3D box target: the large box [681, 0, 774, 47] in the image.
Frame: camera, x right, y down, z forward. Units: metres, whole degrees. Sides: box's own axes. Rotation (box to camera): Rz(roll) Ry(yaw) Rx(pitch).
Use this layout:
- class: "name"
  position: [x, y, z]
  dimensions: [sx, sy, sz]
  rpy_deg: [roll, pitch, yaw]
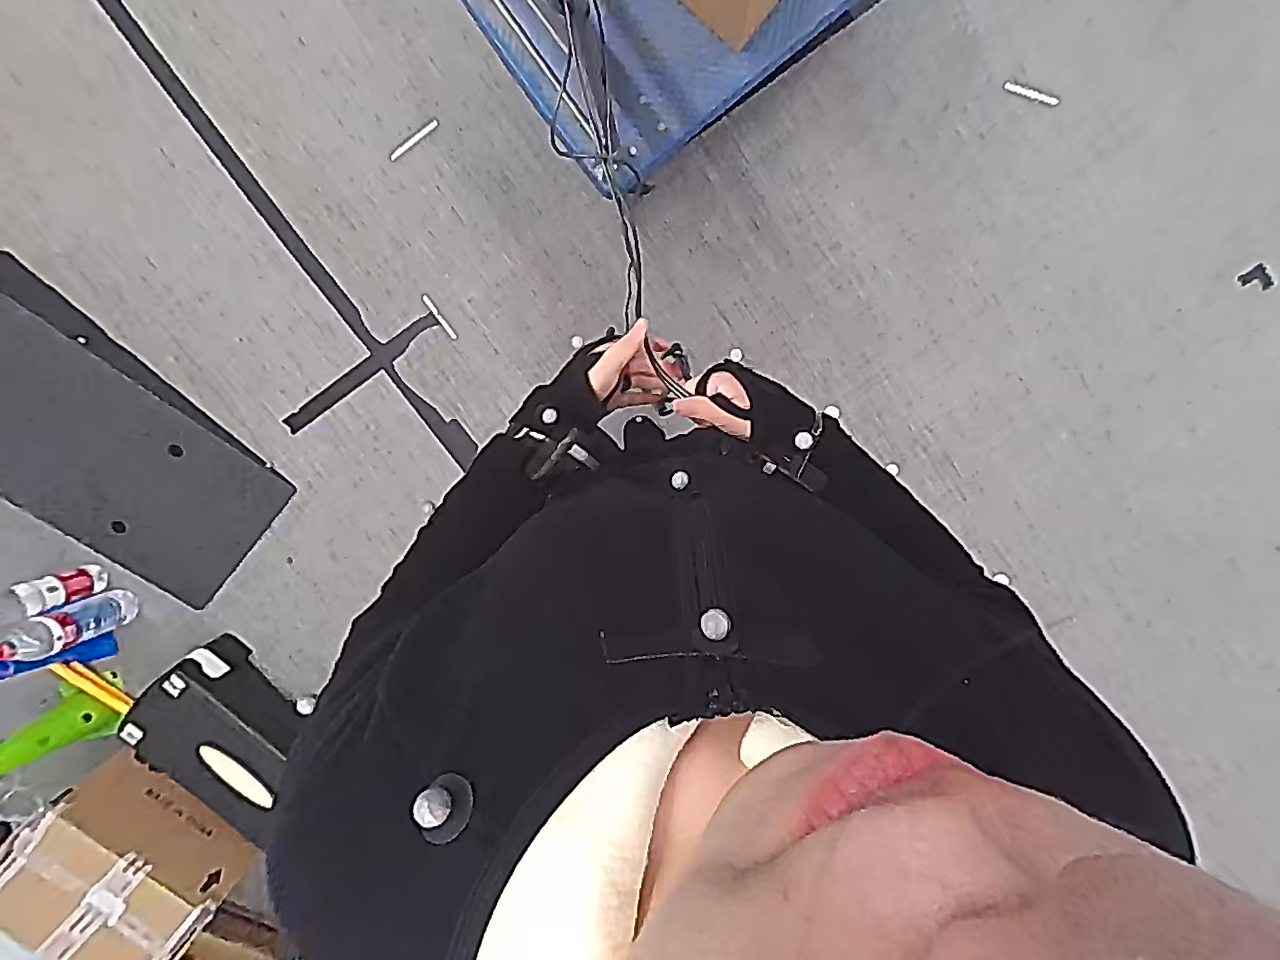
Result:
- class: "large box"
  position: [0.147, -1.144, 0.989]
  dimensions: [0.408, 0.320, 0.320]
  rpy_deg: [38, 98, -5]
